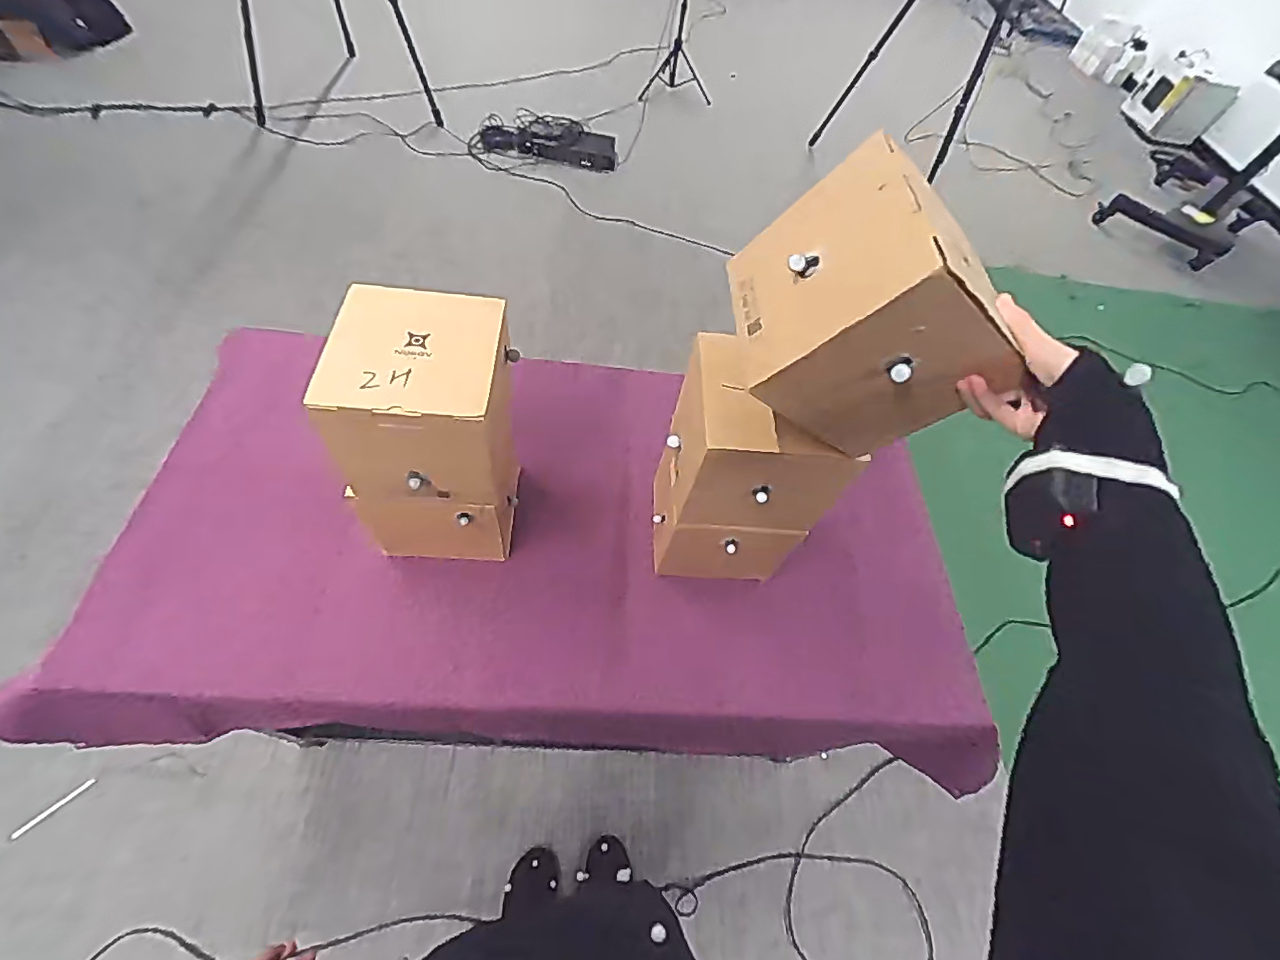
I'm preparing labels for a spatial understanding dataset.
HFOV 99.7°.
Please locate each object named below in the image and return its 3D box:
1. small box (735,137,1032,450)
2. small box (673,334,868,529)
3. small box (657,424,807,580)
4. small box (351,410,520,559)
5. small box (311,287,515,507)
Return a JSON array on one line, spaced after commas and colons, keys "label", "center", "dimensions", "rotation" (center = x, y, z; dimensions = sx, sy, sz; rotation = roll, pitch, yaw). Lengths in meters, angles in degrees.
[{"label": "small box", "center": [0.202, -0.149, 0.492], "dimensions": [0.179, 0.176, 0.168], "rotation": [21, 53, -33]}, {"label": "small box", "center": [0.142, -0.050, 0.657], "dimensions": [0.179, 0.176, 0.168], "rotation": [4, 58, -6]}, {"label": "small box", "center": [0.120, 0.038, 0.794], "dimensions": [0.179, 0.176, 0.168], "rotation": [5, 58, -6]}, {"label": "small box", "center": [-0.269, 0.002, 0.757], "dimensions": [0.179, 0.176, 0.168], "rotation": [4, 57, -8]}, {"label": "small box", "center": [-0.238, -0.090, 0.623], "dimensions": [0.168, 0.176, 0.179], "rotation": [4, 57, -7]}]
